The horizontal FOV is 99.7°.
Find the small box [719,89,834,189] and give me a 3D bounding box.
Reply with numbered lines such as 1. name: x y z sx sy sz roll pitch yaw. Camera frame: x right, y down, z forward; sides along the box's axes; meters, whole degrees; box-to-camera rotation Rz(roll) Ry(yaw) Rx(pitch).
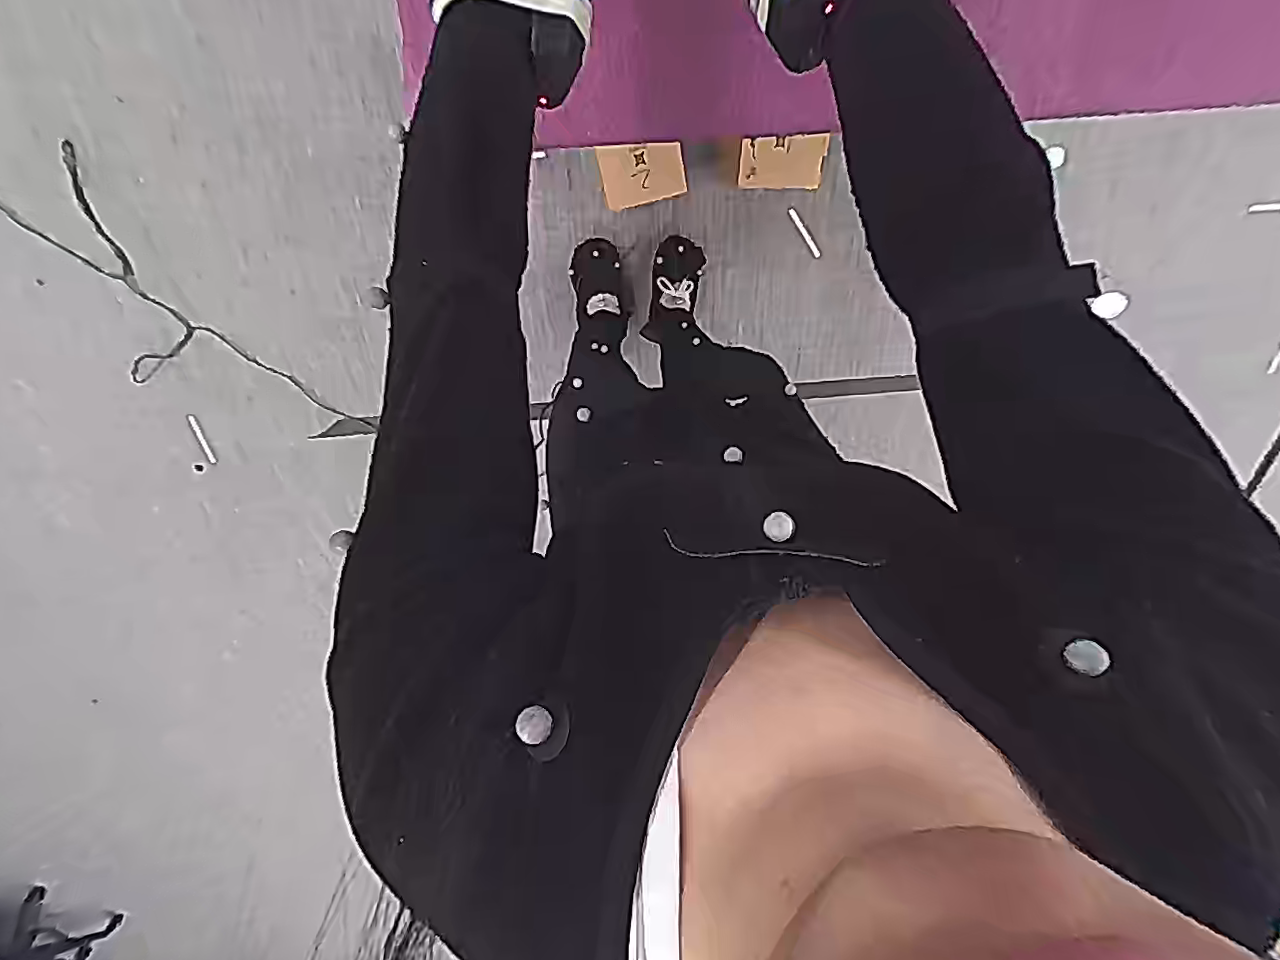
1. small box: 0.277 -0.716 1.141 0.179 0.176 0.168 -2 122 -6
